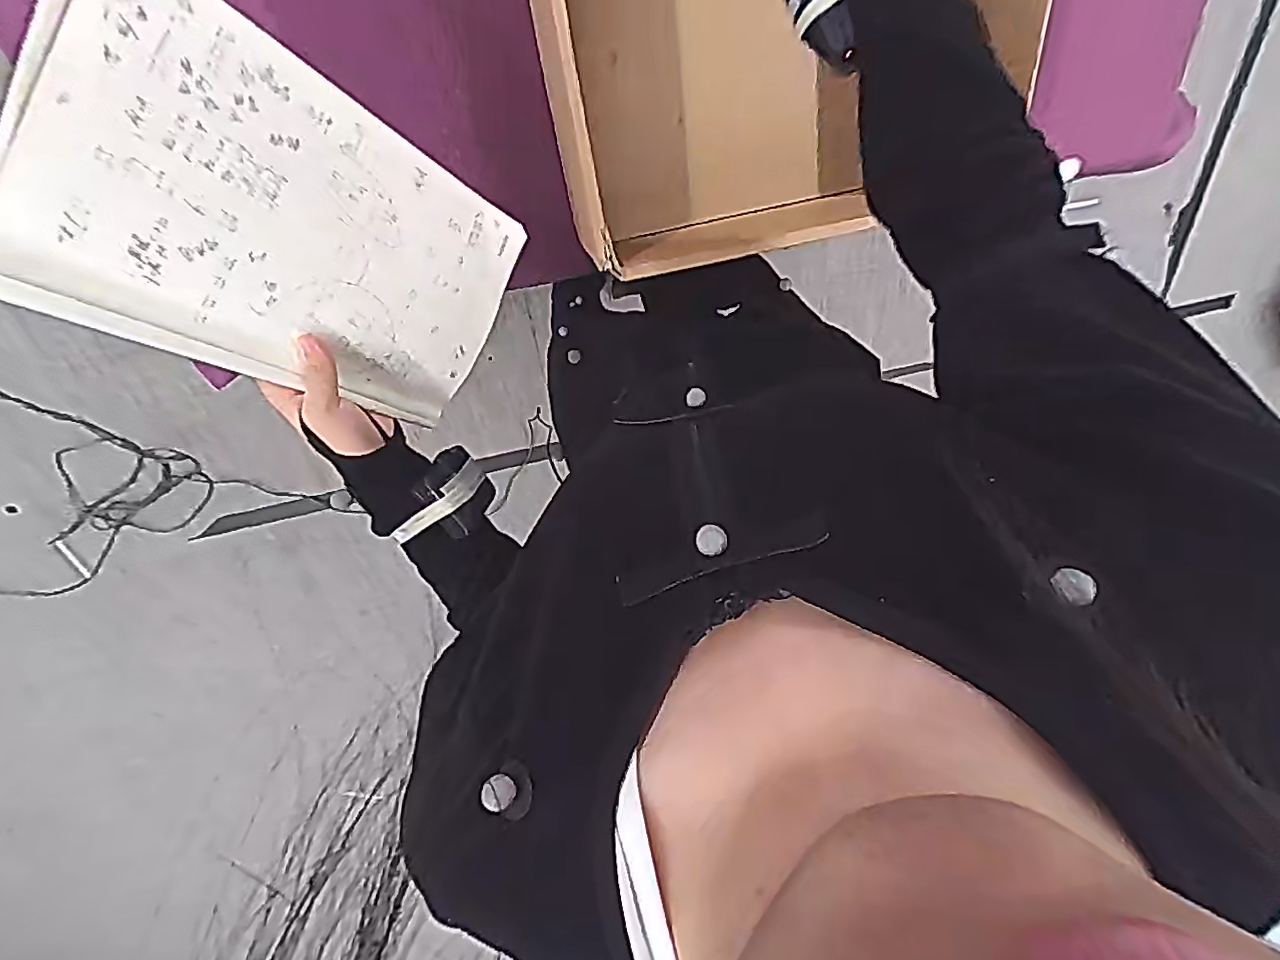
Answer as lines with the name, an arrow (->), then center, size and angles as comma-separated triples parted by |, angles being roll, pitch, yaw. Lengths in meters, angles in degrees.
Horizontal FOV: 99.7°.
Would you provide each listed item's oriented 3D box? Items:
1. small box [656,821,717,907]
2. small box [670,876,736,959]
small box -> 0.156, 1.331, 1.880 | 0.179, 0.176, 0.168 | -12, 125, -10
small box -> 0.199, 1.427, 1.753 | 0.168, 0.176, 0.179 | -10, 124, -11
